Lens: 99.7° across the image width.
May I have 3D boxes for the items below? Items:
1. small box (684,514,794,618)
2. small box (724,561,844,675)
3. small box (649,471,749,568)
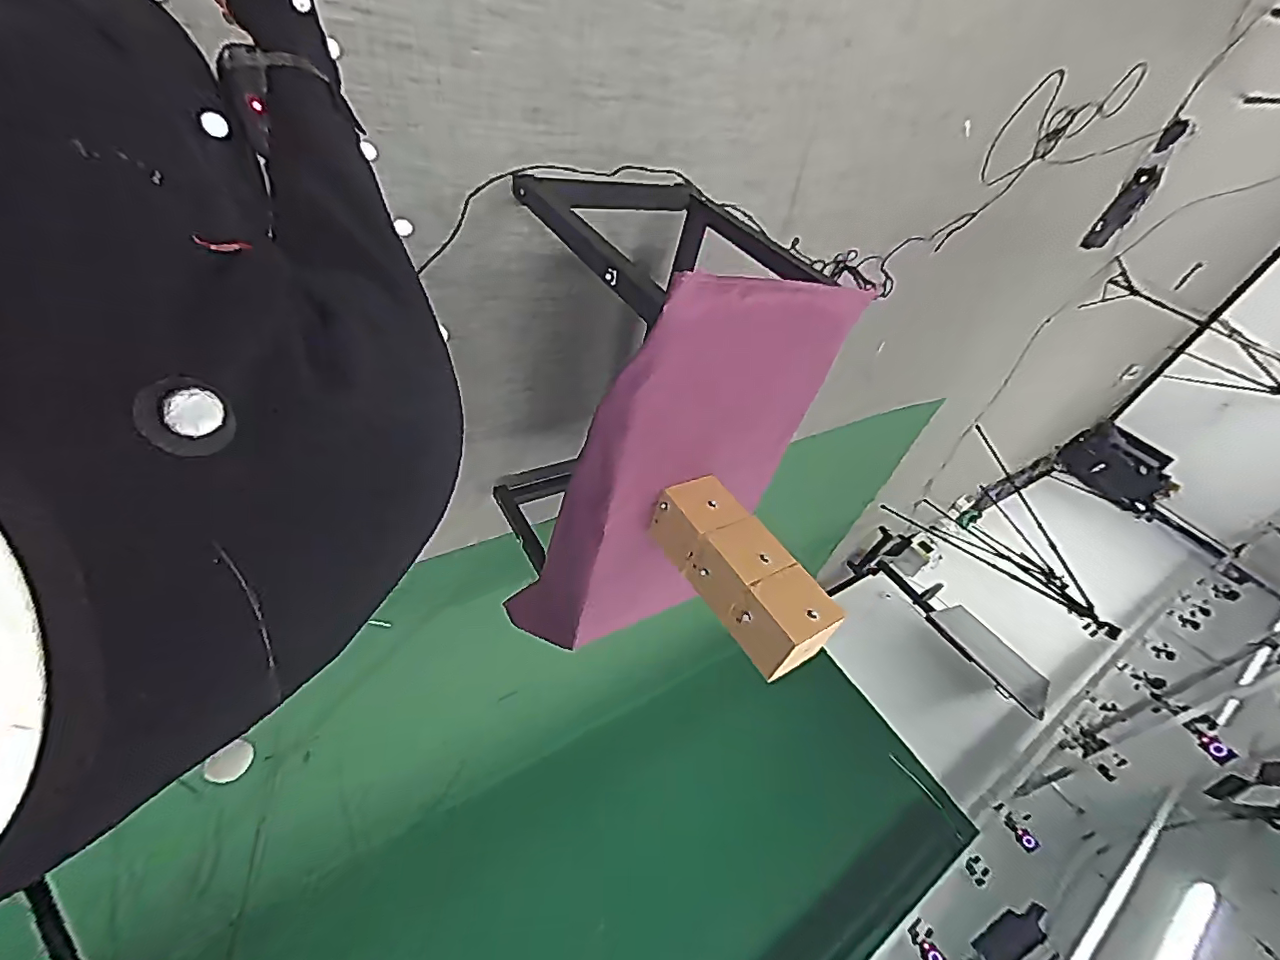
[{"bbox_3d":[0.242,0.207,1.351,0.179,0.176,0.168,-15,141,-32],"label":"small box"},{"bbox_3d":[0.331,0.315,1.267,0.179,0.176,0.168,-15,141,-32],"label":"small box"},{"bbox_3d":[0.149,0.100,1.435,0.179,0.176,0.168,-15,142,-33],"label":"small box"}]
